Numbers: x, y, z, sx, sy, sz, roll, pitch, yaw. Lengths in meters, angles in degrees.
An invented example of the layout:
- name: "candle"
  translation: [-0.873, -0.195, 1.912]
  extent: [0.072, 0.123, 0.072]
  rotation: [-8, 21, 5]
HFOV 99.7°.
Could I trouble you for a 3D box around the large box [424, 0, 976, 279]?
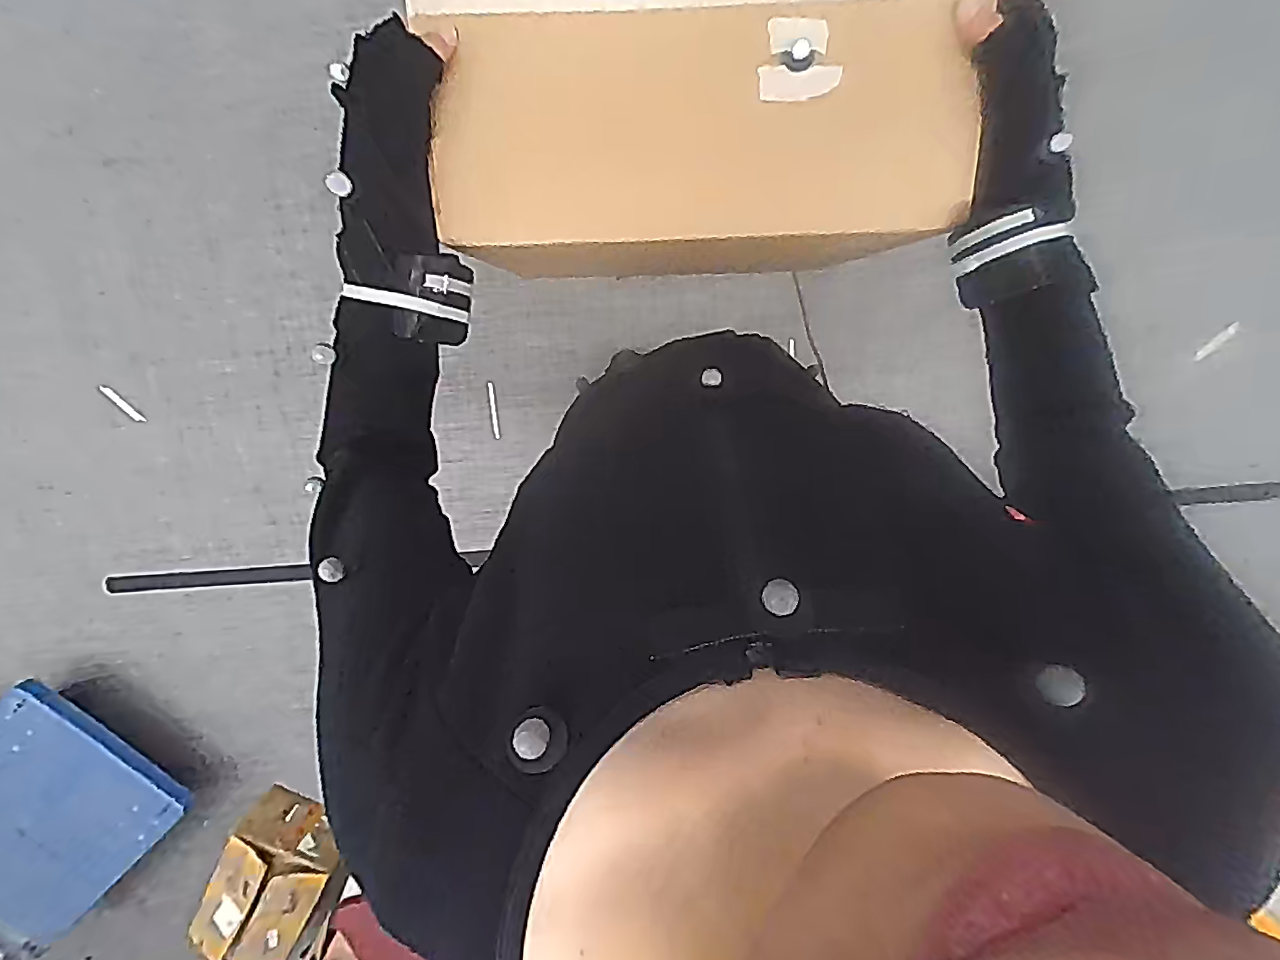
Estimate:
- name: "large box"
  translation: [0.039, -0.383, 0.529]
  extent: [0.408, 0.320, 0.320]
  rotation: [-2, 106, -1]
